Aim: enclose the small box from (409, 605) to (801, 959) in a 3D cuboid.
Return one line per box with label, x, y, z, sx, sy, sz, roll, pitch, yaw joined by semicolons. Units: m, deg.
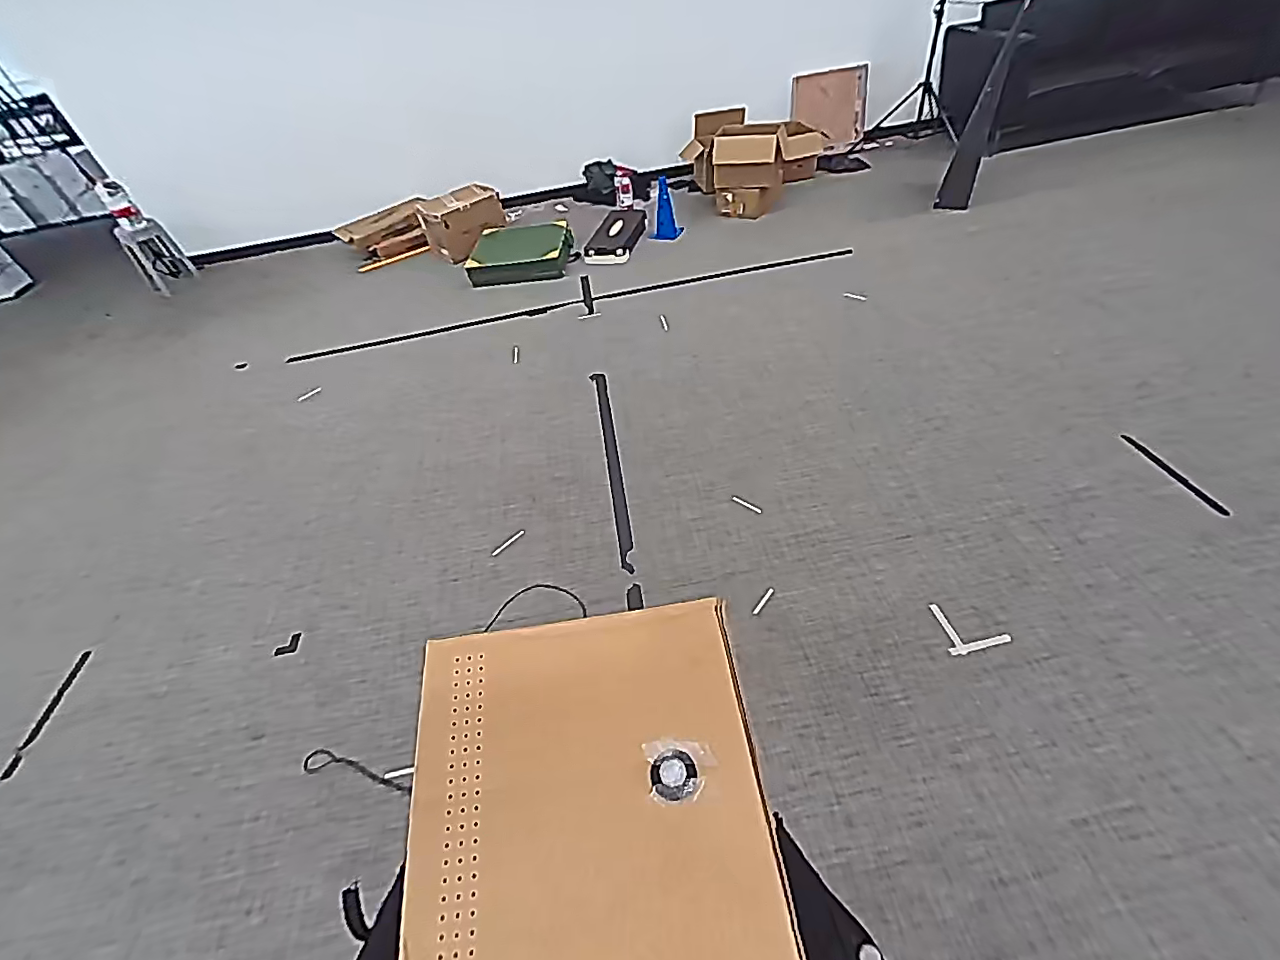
small box;-0.021;0.198;0.326;0.176;0.168;0.179;-9;55;0
